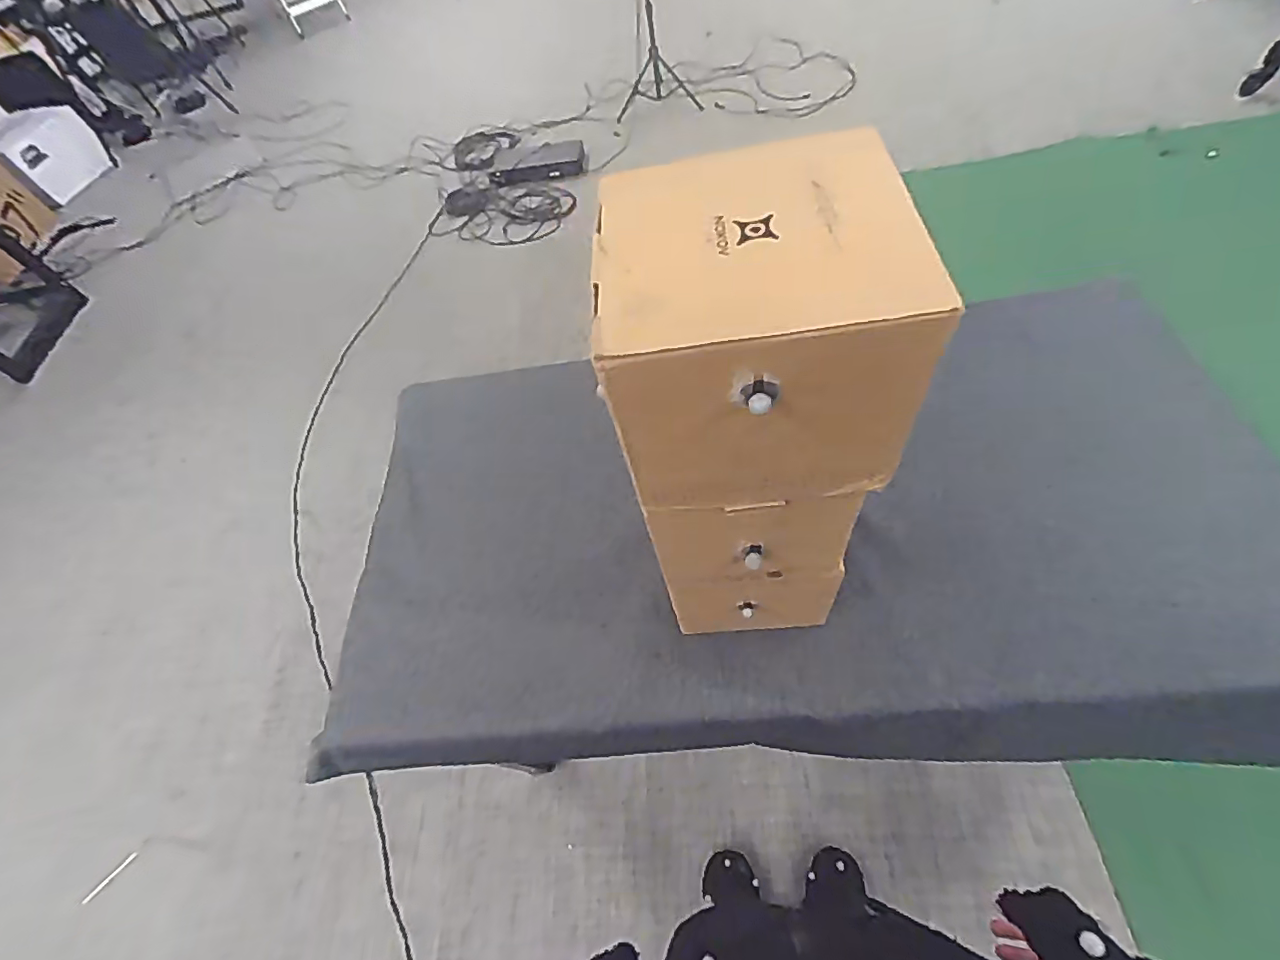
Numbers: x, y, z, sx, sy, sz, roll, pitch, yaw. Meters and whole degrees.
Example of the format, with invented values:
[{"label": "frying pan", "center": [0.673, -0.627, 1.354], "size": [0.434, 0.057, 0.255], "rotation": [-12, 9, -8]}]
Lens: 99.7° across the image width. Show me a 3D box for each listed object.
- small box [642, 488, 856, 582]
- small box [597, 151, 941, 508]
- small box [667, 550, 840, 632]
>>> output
[{"label": "small box", "center": [0.094, -0.010, 0.522], "size": [0.168, 0.176, 0.179], "rotation": [-7, 57, 7]}, {"label": "small box", "center": [0.074, -0.092, 0.382], "size": [0.179, 0.176, 0.168], "rotation": [-6, 58, 7]}, {"label": "small box", "center": [0.125, 0.076, 0.656], "size": [0.179, 0.176, 0.168], "rotation": [-7, 56, 8]}]
